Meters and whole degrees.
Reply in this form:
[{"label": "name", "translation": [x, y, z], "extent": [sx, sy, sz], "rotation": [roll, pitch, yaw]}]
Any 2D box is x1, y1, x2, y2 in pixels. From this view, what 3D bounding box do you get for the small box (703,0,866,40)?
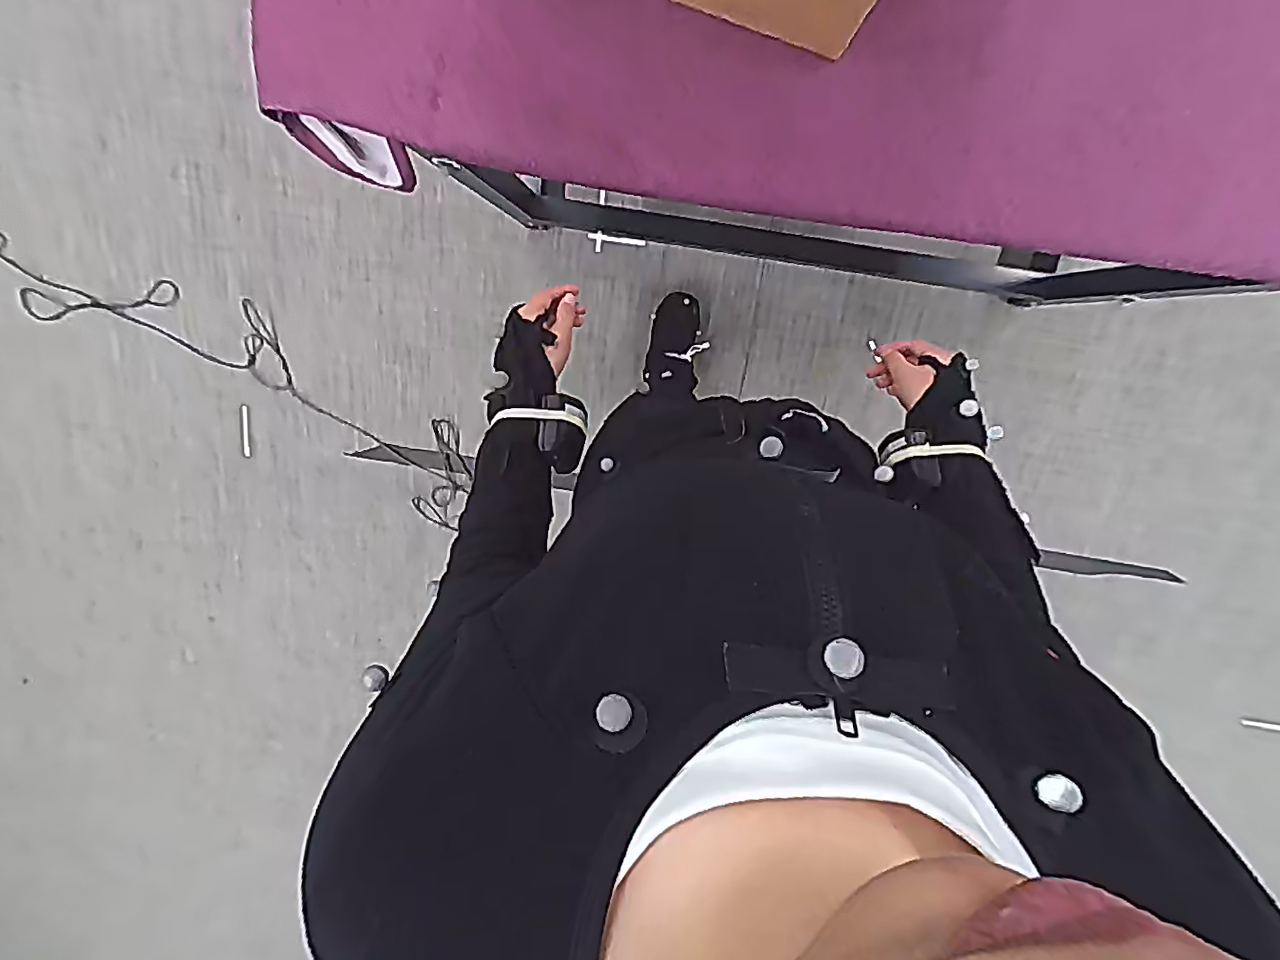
[{"label": "small box", "translation": [0.132, -0.491, 0.419], "extent": [0.179, 0.176, 0.168], "rotation": [18, 105, -2]}]
